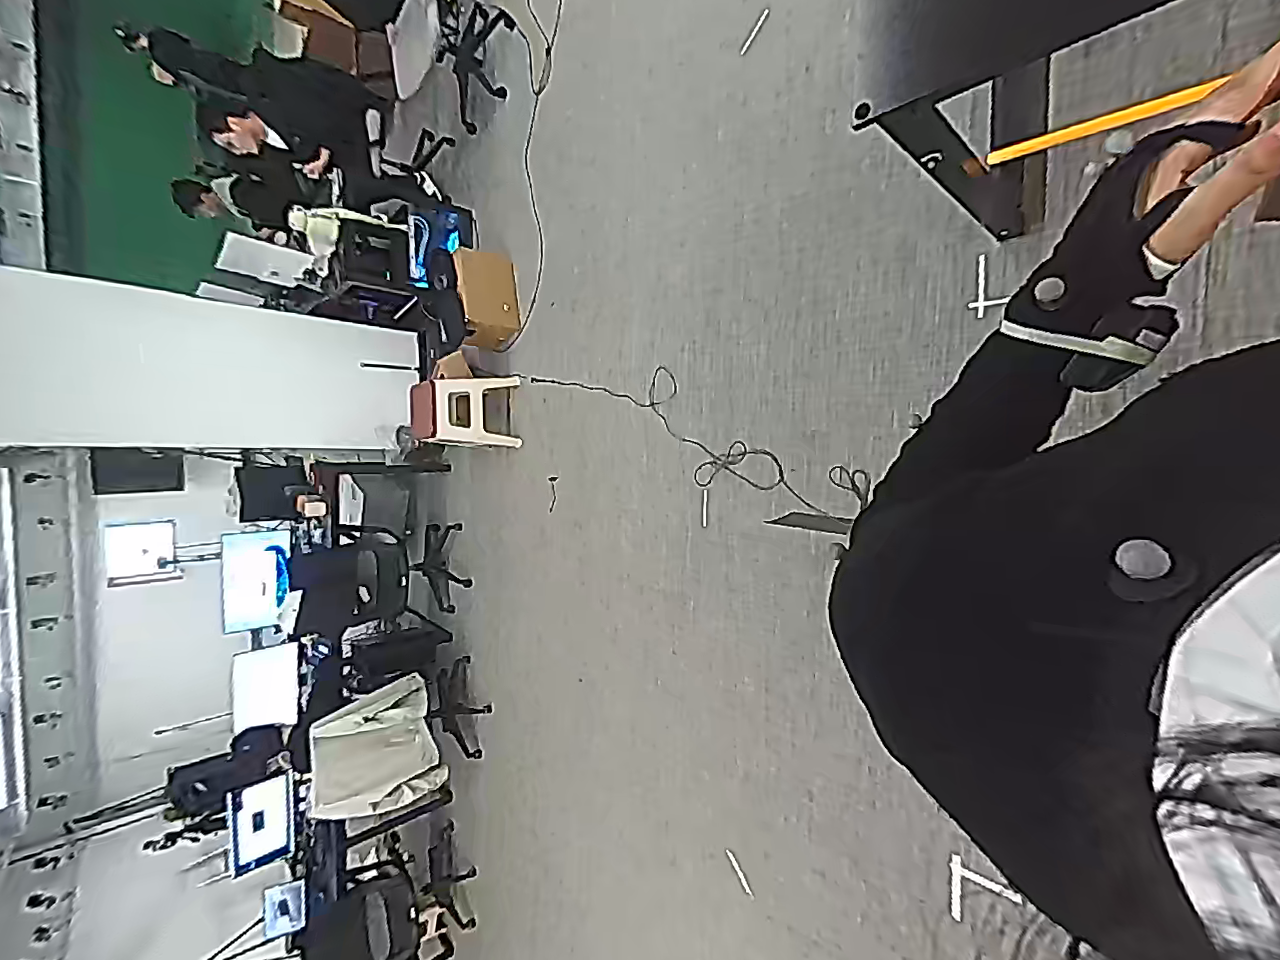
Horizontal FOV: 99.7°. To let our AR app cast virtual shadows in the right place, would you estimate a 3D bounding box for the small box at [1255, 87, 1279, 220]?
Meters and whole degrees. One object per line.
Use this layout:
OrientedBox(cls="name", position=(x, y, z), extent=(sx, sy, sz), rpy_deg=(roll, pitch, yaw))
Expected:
OrientedBox(cls="small box", position=(0.442, -0.246, 0.256), extent=(0.168, 0.176, 0.179), rpy_deg=(14, 104, 41))
